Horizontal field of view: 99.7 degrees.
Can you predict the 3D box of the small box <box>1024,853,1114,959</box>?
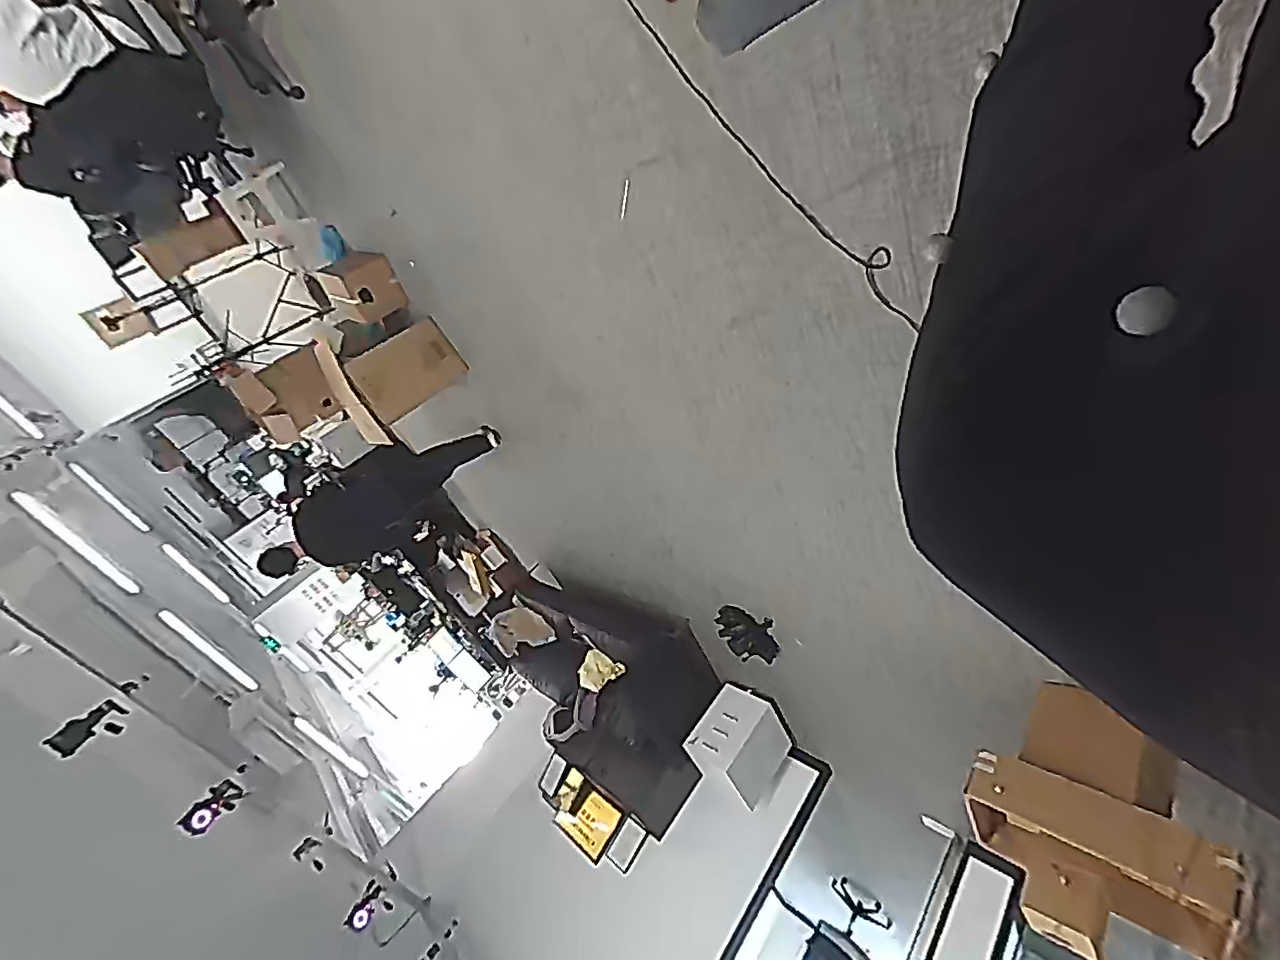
[{"bbox_3d":[1.258,1.250,1.581,0.168,0.176,0.179,-3,127,51],"label":"small box"}]
